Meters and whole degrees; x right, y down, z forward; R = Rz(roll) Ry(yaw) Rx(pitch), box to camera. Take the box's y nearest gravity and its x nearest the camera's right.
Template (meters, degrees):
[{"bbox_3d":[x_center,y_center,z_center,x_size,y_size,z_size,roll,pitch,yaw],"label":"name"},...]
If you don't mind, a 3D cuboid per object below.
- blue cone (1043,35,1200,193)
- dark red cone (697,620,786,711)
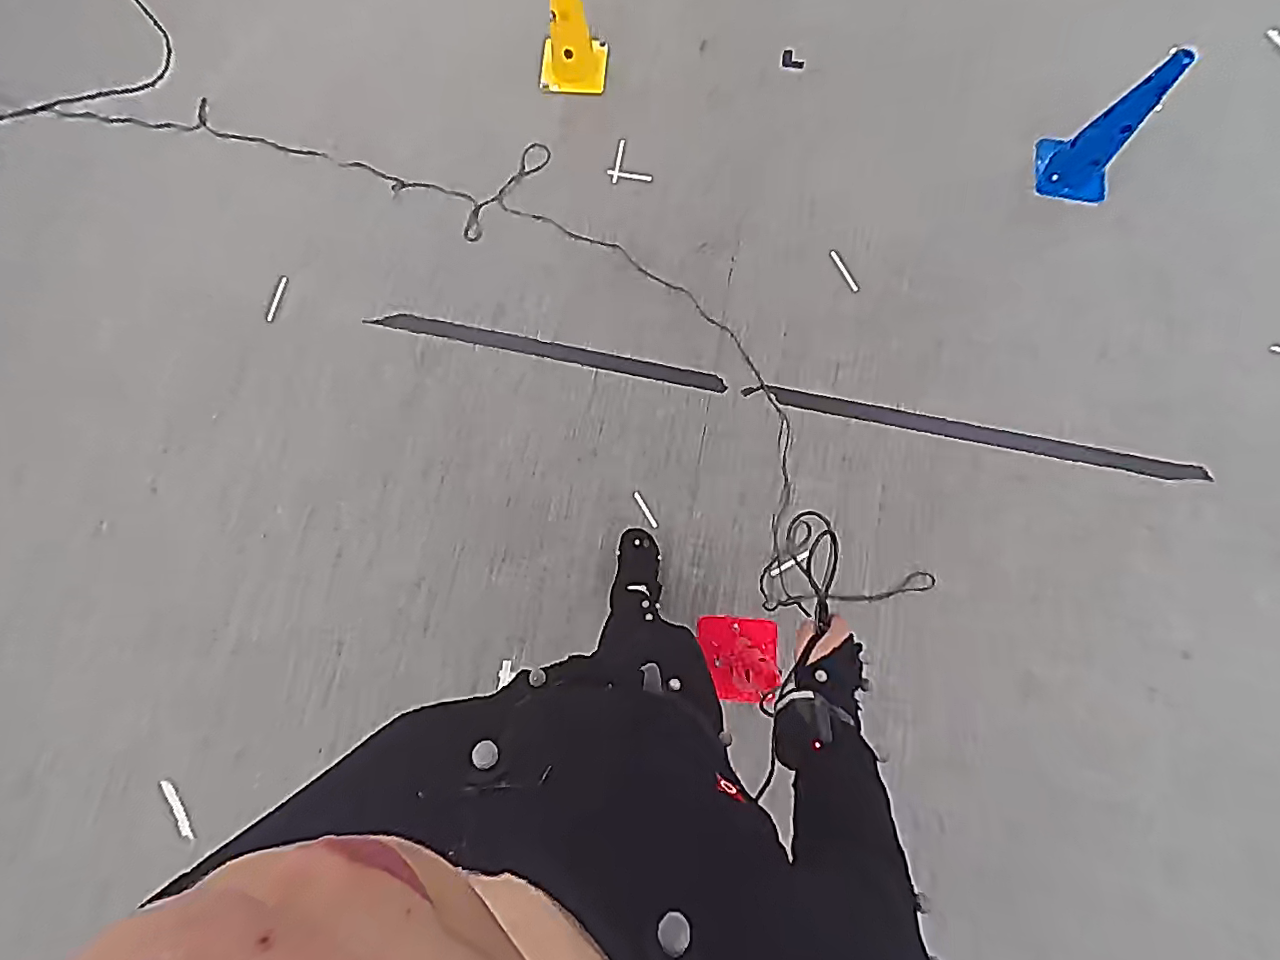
[{"bbox_3d":[1.290,-0.974,1.440,0.193,0.380,0.192,12,77,3],"label":"blue cone"},{"bbox_3d":[0.238,0.402,1.125,0.202,0.394,0.201,4,77,1],"label":"dark red cone"}]
